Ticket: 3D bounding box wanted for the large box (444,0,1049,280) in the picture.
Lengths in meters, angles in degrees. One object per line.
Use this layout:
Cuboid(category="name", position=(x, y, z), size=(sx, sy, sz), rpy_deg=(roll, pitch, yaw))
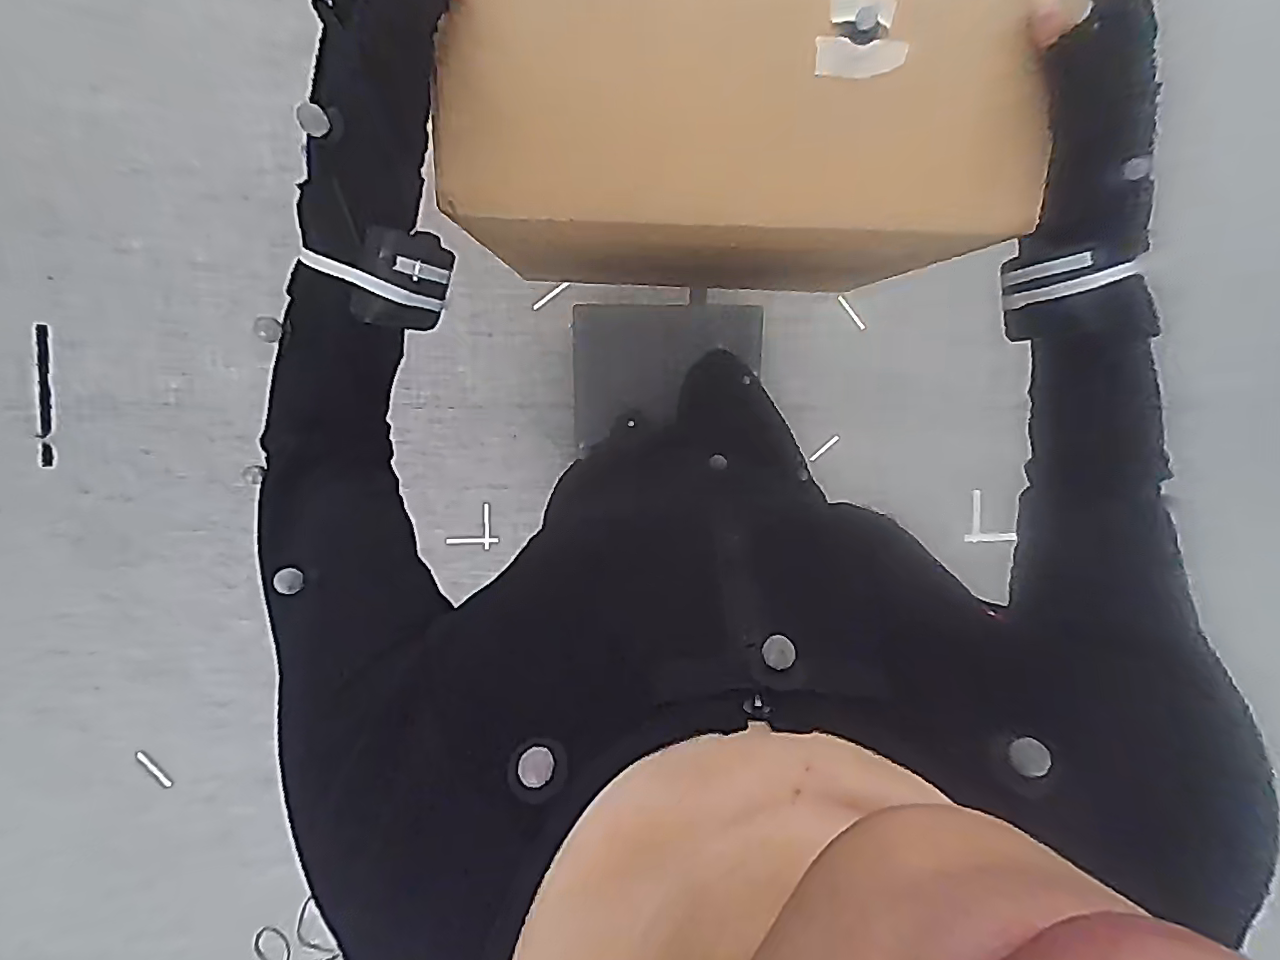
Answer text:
Cuboid(category="large box", position=(0.065, -0.367, 0.491), size=(0.408, 0.320, 0.320), rpy_deg=(1, 103, -3))
